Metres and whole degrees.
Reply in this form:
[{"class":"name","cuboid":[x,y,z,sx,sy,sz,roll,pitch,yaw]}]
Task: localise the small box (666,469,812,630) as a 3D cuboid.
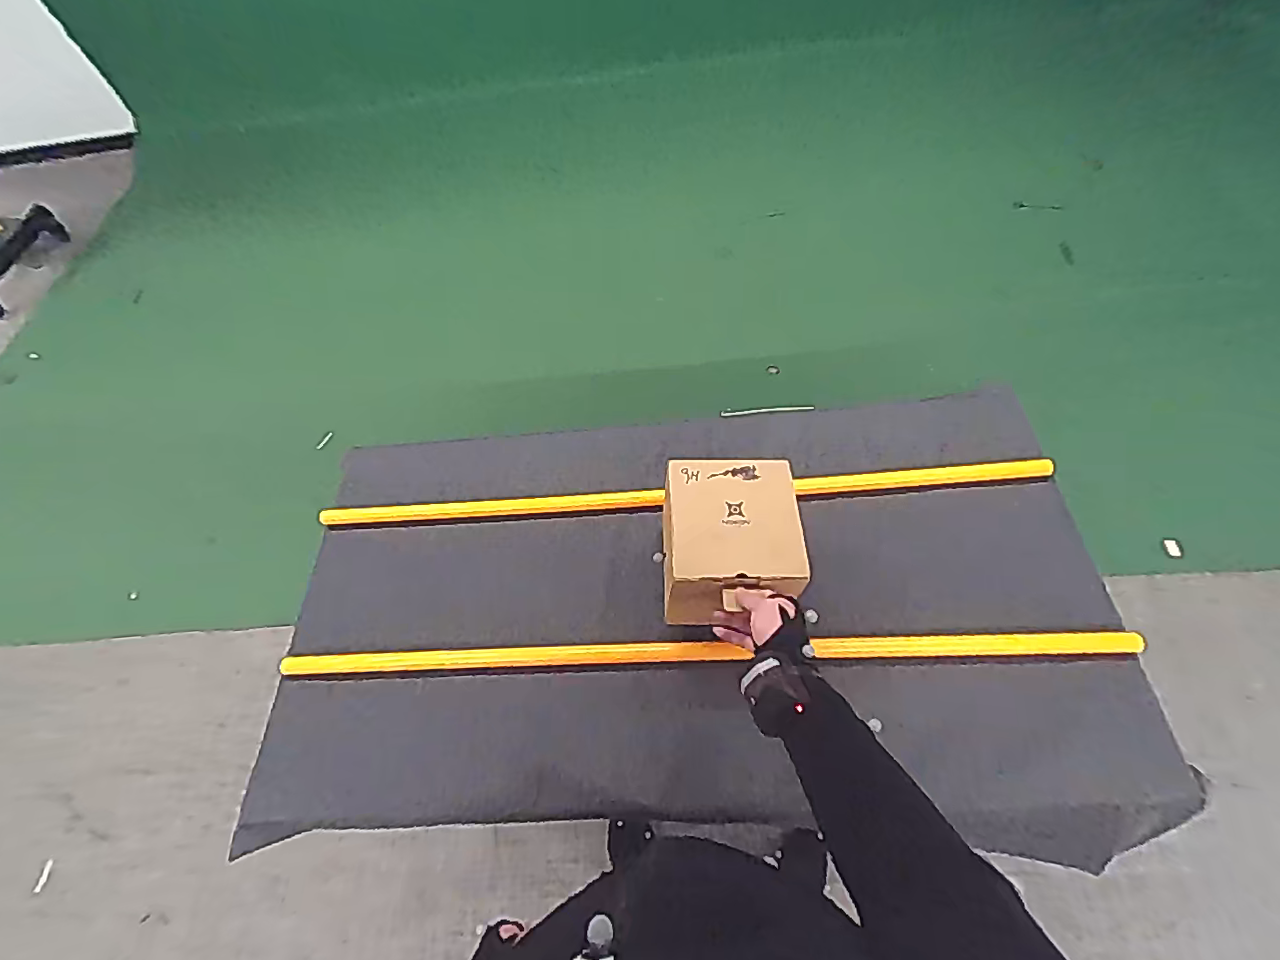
[{"class":"small box","cuboid":[0.124,0.104,0.757,0.168,0.176,0.179,-3,56,-1]}]
